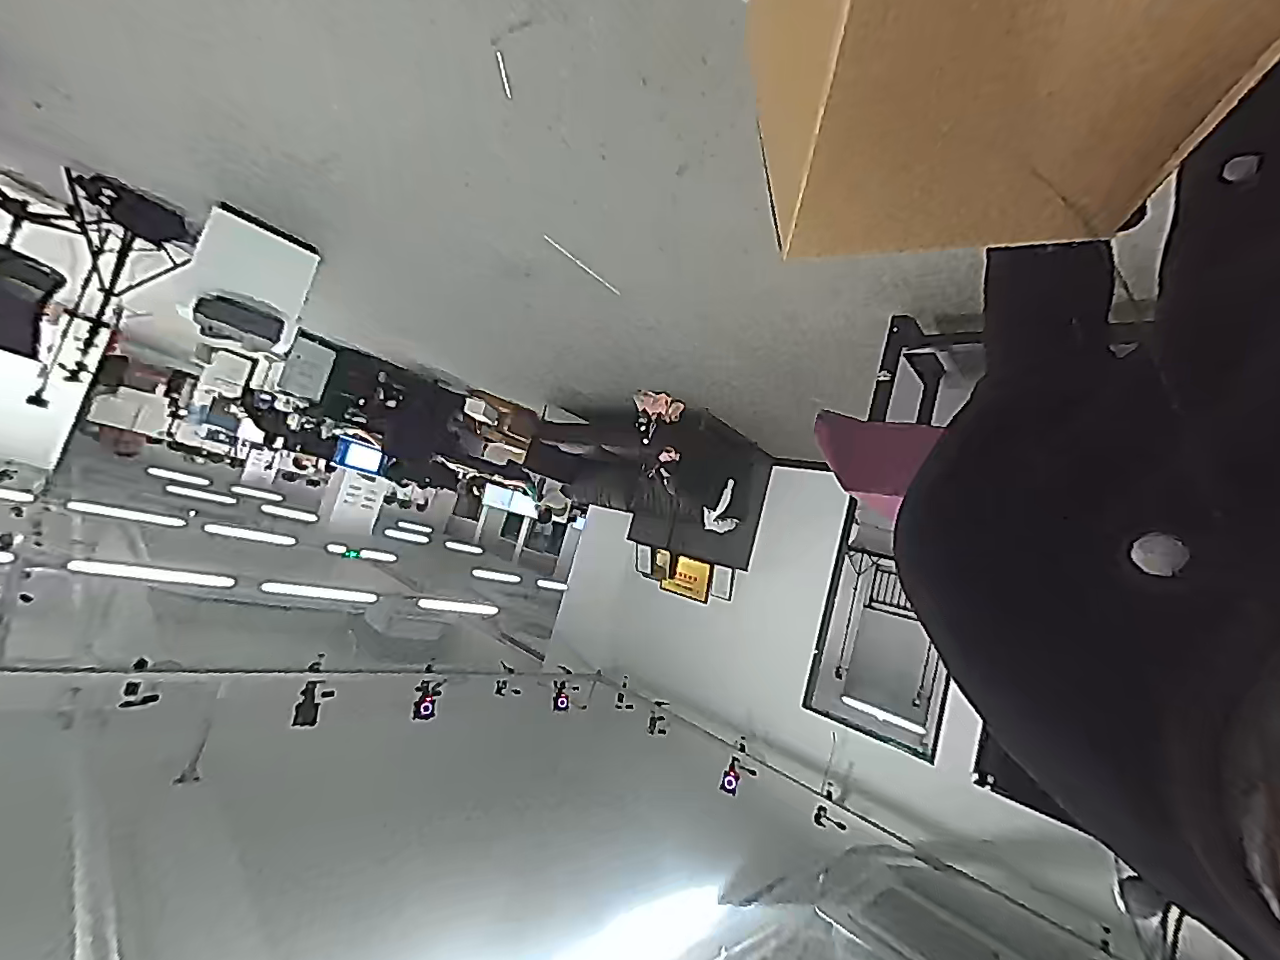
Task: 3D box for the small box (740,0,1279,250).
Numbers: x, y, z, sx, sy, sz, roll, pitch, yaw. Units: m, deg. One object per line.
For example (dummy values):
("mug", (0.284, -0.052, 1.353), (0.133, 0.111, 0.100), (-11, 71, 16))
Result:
("small box", (0.142, -0.228, 0.223), (0.168, 0.179, 0.176), (-3, 158, 2))
